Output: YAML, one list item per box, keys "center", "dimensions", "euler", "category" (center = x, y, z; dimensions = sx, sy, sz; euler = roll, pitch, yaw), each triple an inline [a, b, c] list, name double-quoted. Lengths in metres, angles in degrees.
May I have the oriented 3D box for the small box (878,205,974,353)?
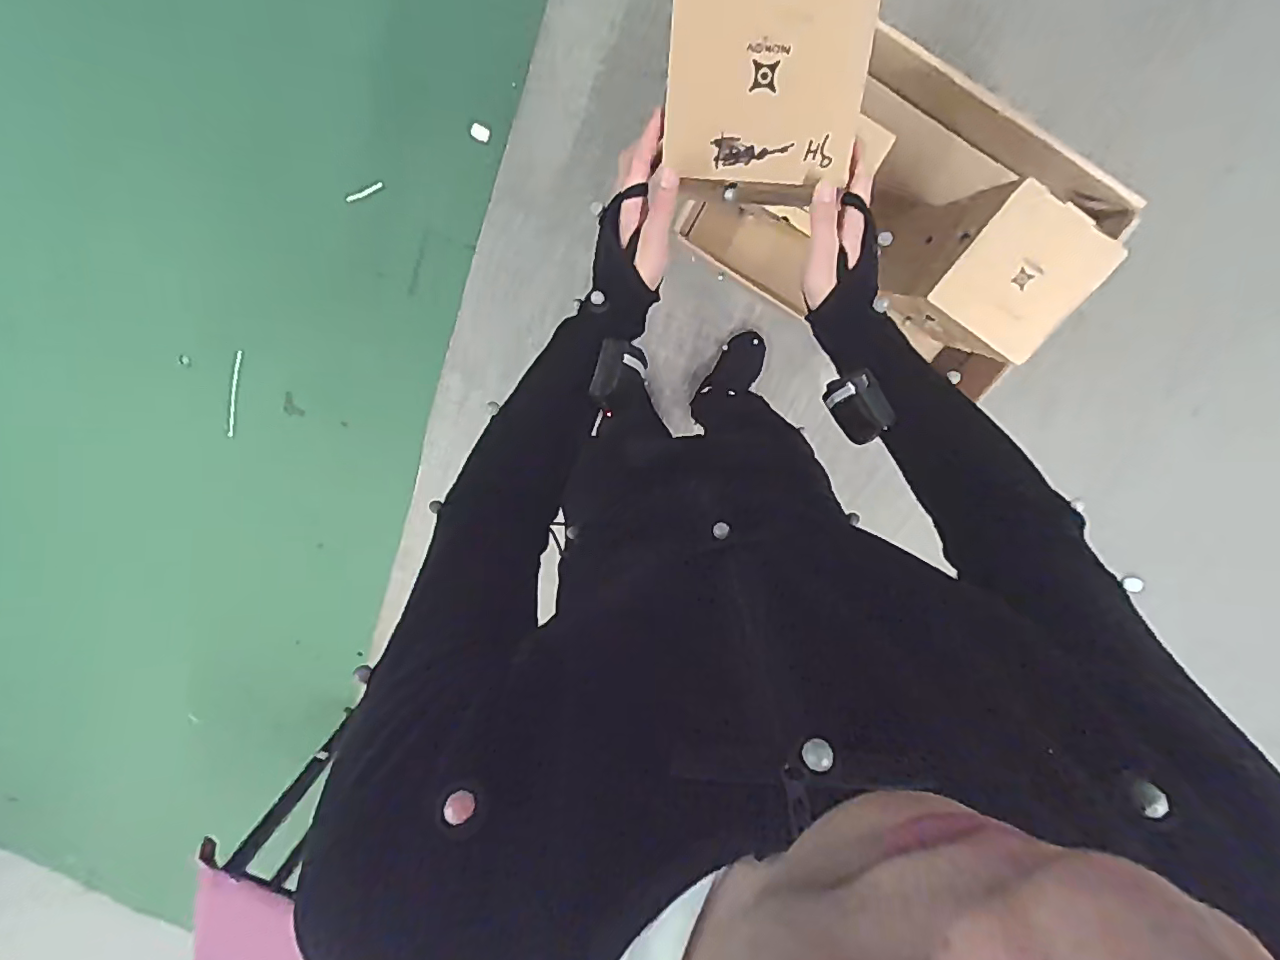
- center: [0.540, -0.345, 0.918]
  dimensions: [0.168, 0.176, 0.179]
  euler: [35, 112, -5]
  category: "small box"

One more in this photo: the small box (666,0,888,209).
- center: [0.114, -0.369, 0.513]
  dimensions: [0.168, 0.176, 0.179]
  euler: [5, 111, 3]
  category: "small box"

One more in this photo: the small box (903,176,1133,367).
- center: [0.512, -0.289, 0.768]
  dimensions: [0.168, 0.176, 0.179]
  euler: [34, 112, -5]
  category: "small box"
